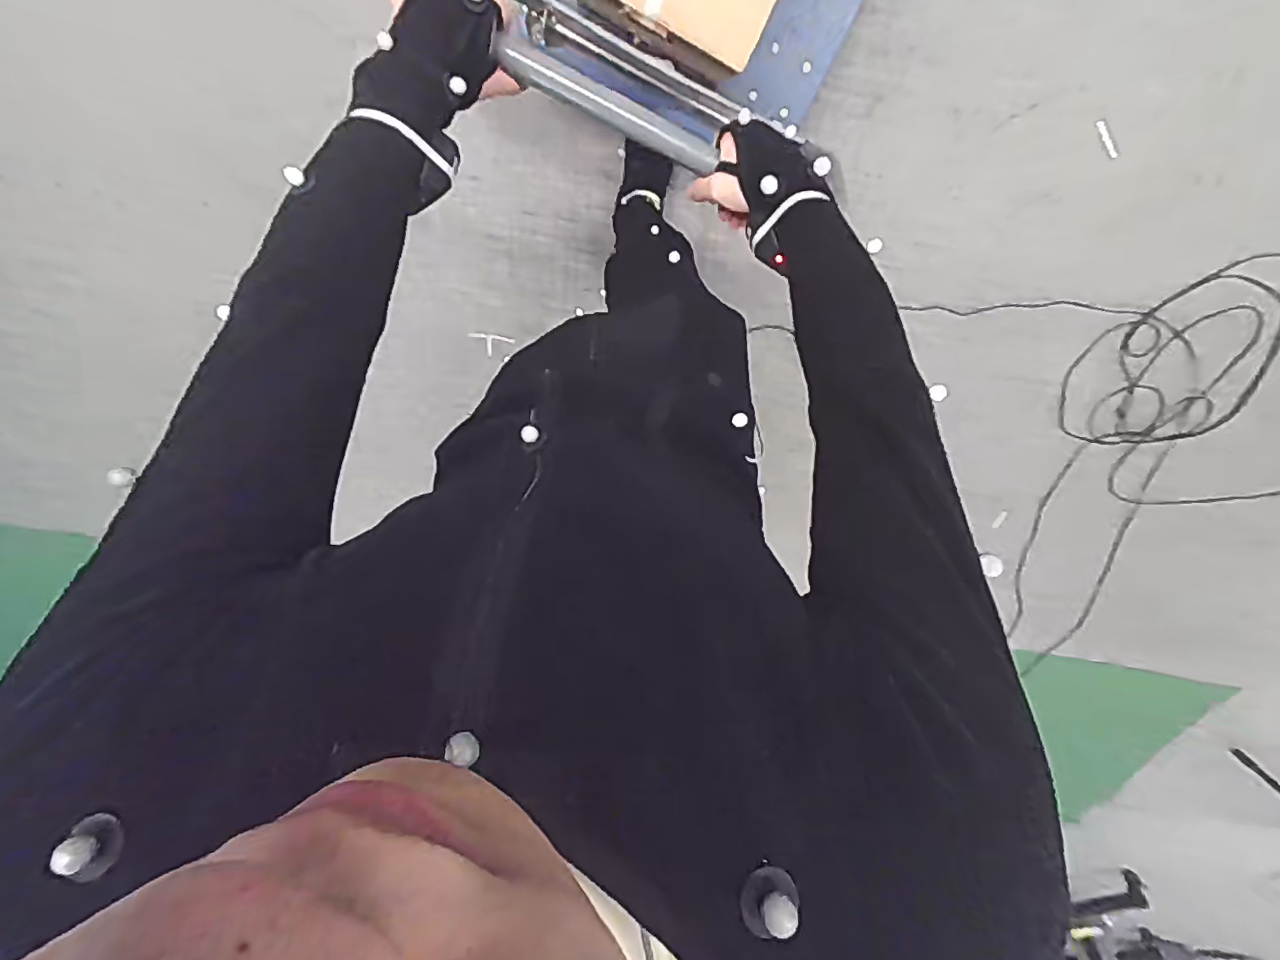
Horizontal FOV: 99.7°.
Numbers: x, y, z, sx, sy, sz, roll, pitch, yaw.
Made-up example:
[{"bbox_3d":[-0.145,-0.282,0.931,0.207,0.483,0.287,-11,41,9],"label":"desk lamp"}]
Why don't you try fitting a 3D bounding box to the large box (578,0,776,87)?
[{"bbox_3d":[0.103,-0.901,0.817,0.320,0.320,0.408,22,120,-12],"label":"large box"}]
